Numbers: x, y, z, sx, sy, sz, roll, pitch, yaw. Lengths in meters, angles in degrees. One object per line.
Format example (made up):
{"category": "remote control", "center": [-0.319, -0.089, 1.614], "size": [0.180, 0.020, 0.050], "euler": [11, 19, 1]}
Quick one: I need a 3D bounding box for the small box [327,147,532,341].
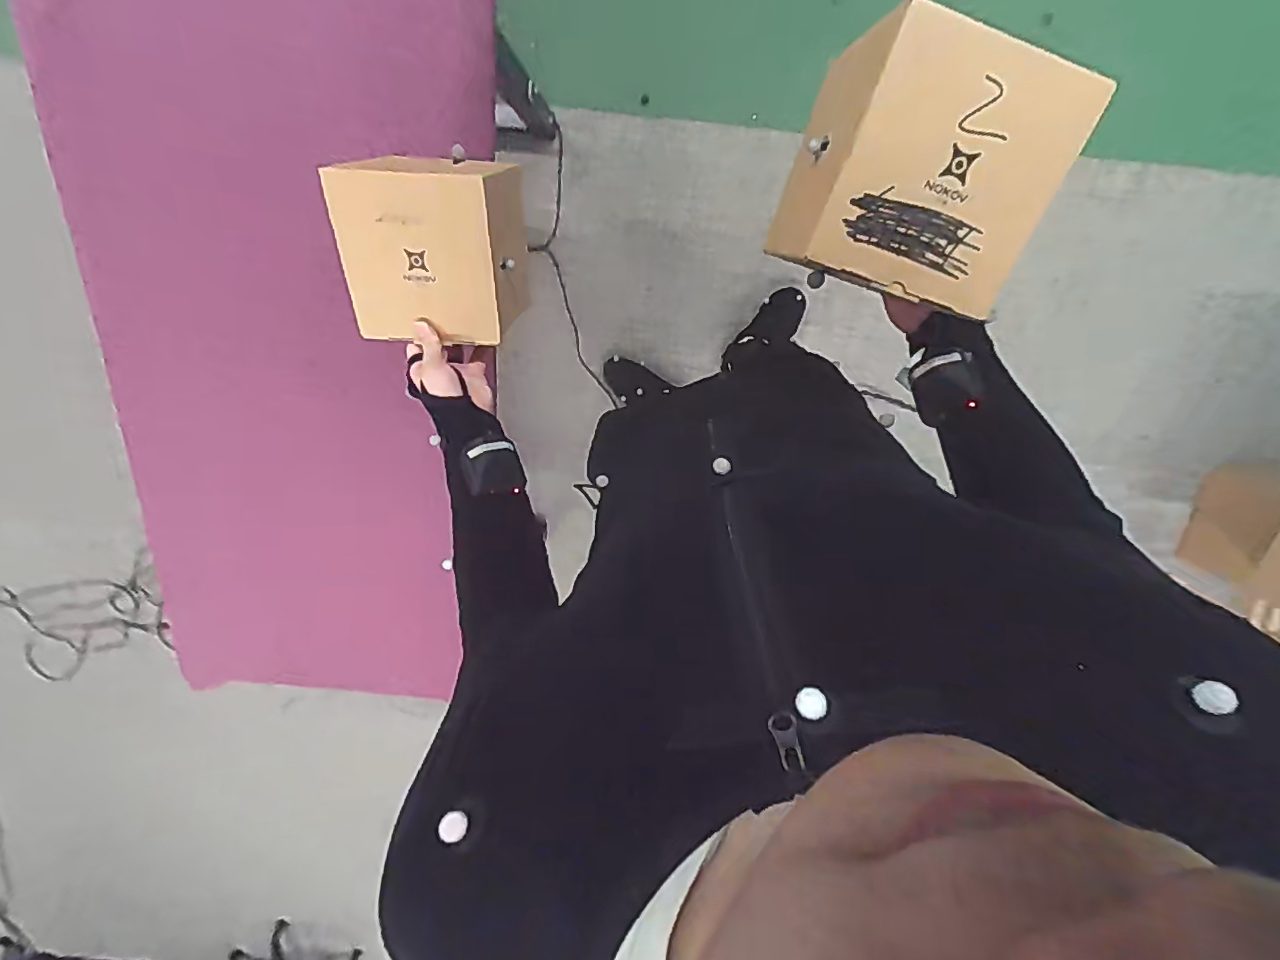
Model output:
{"category": "small box", "center": [-0.229, -0.284, 0.644], "size": [0.168, 0.176, 0.179], "euler": [4, 125, 0]}
